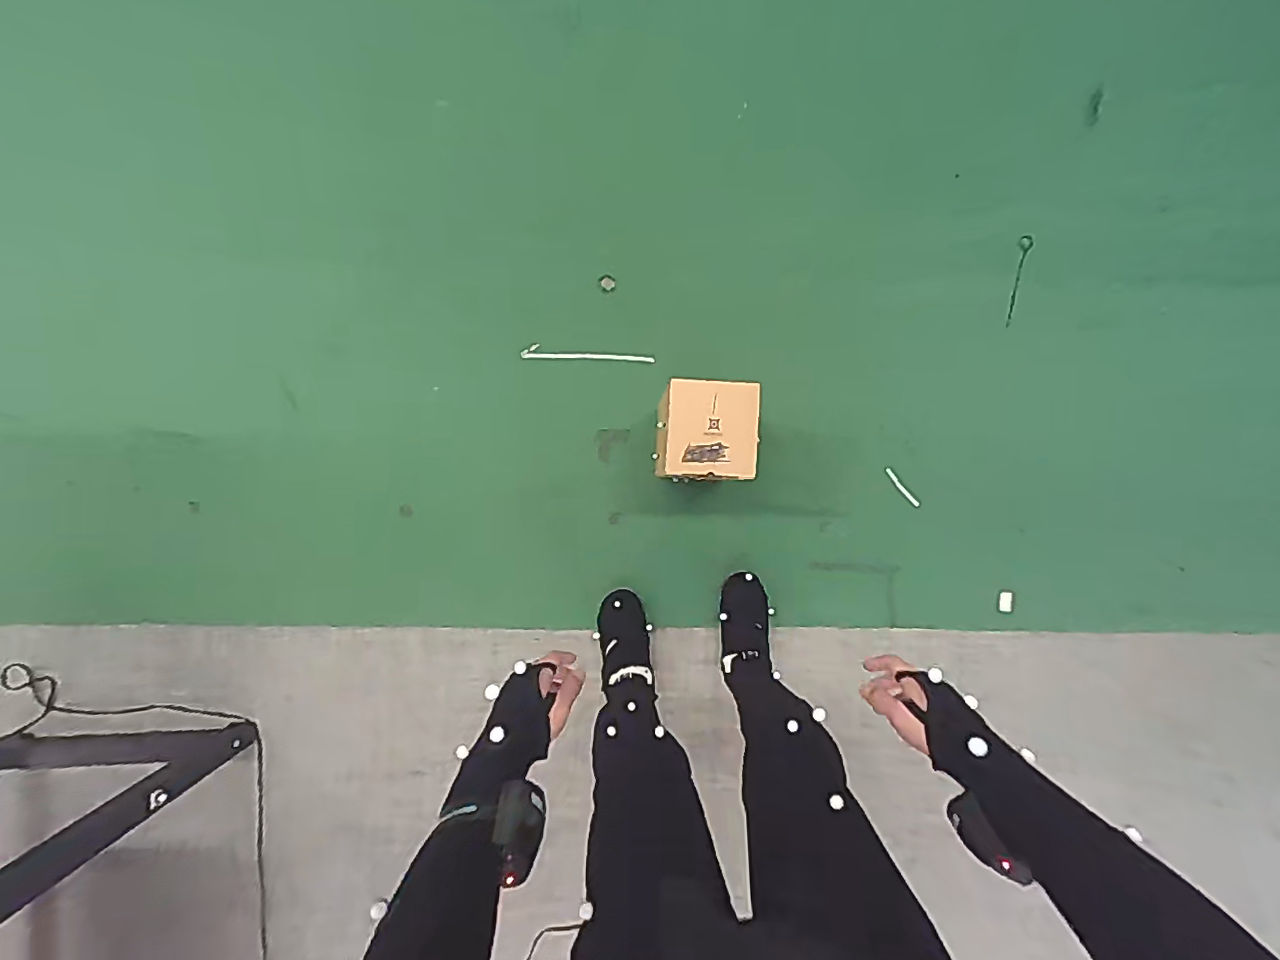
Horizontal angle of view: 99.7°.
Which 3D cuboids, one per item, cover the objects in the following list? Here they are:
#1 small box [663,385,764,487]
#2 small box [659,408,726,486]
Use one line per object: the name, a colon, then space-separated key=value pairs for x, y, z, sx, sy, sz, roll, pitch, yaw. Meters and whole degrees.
small box: x=0.135 y=-0.080 z=1.052 sx=0.168 sy=0.176 sz=0.179 roll=3 pitch=89 yaw=-2
small box: x=0.131 y=-0.079 z=1.217 sx=0.168 sy=0.176 sz=0.179 roll=2 pitch=90 yaw=-1
